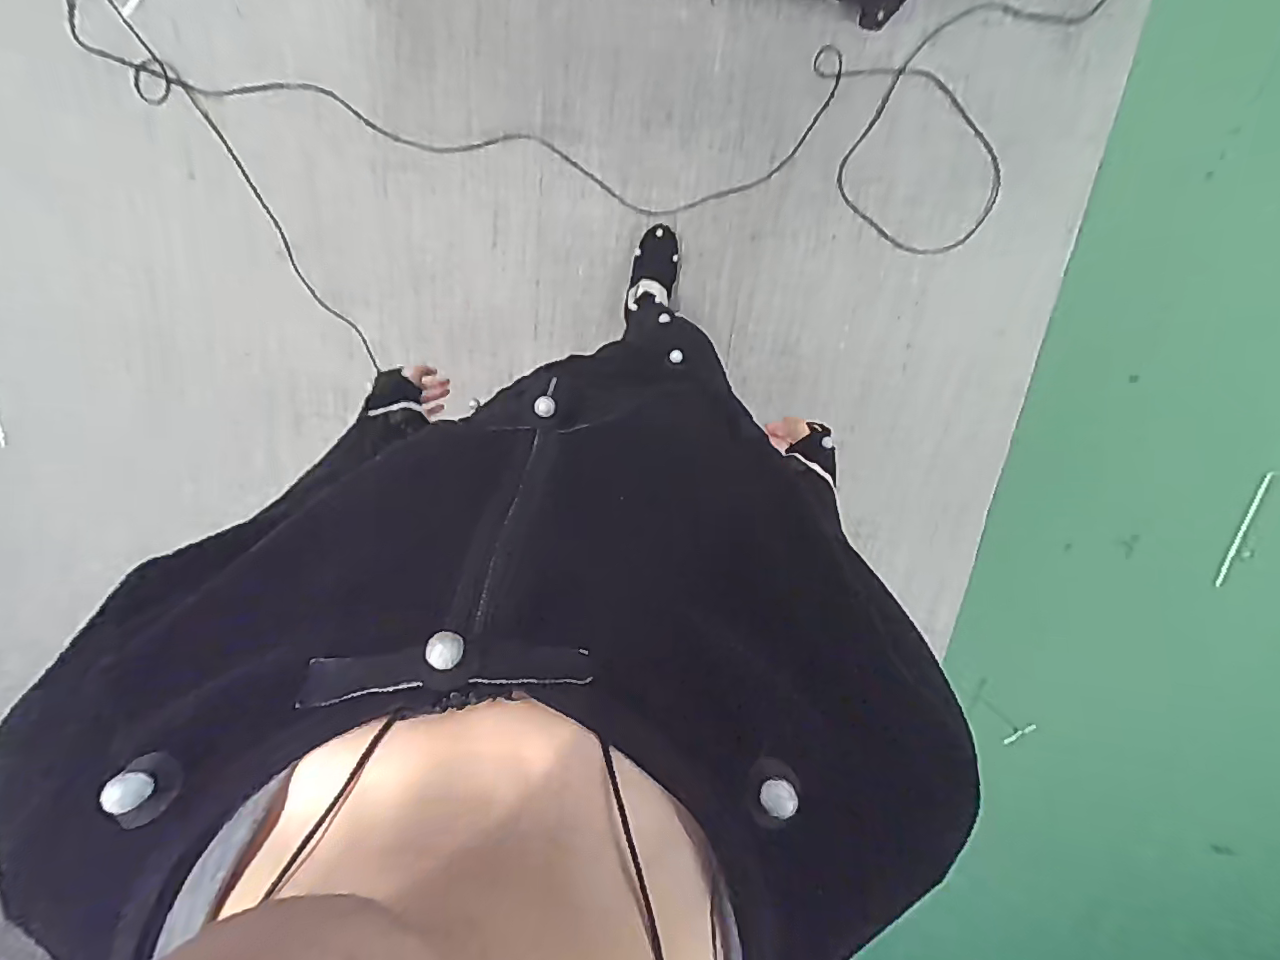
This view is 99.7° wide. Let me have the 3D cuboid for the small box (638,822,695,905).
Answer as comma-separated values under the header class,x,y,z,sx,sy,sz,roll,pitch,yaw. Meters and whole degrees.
class,x,y,z,sx,sy,sz,roll,pitch,yaw
small box,0.083,1.290,1.826,0.179,0.176,0.168,2,107,-2
